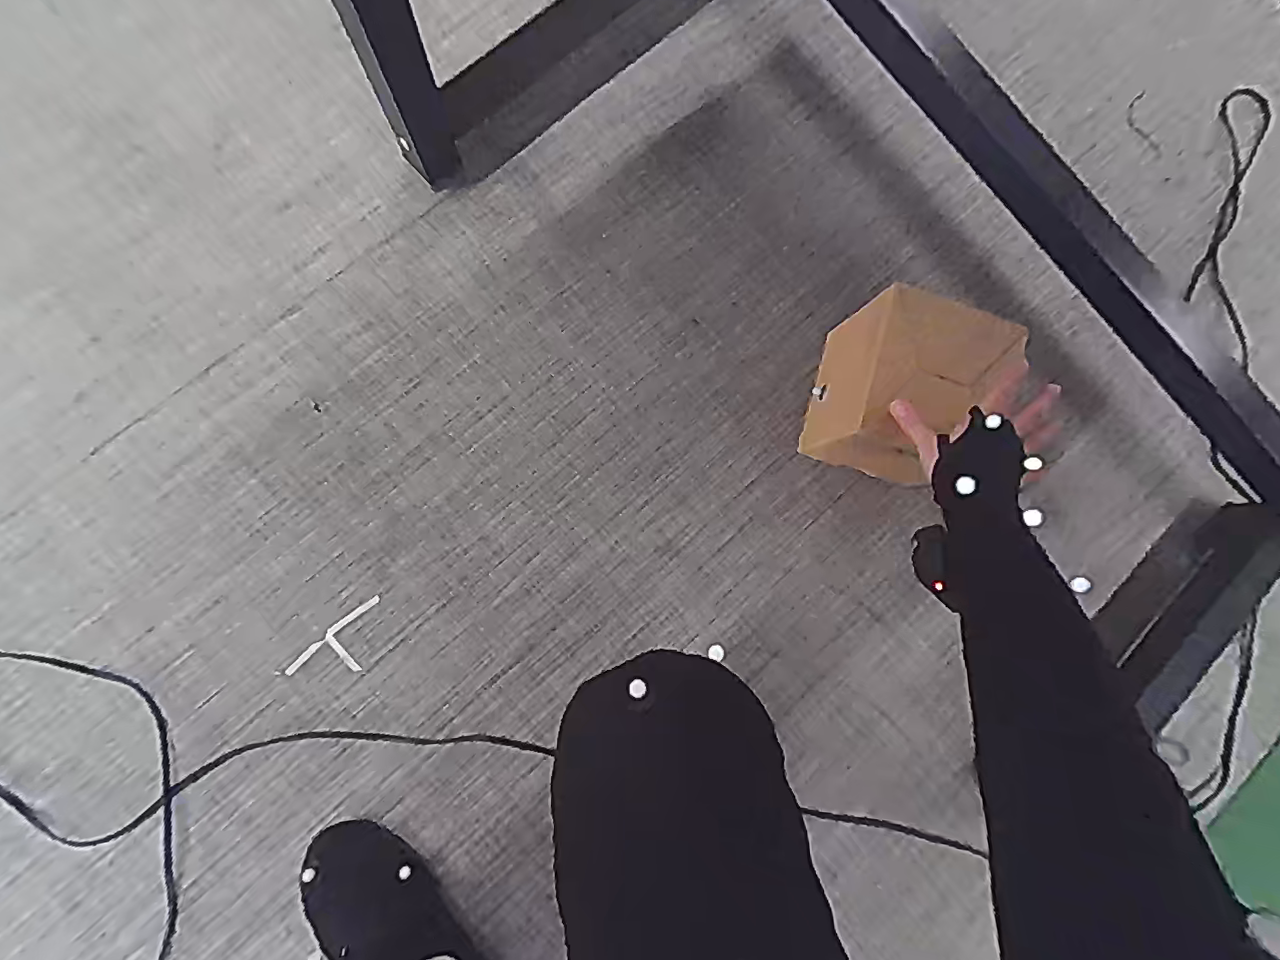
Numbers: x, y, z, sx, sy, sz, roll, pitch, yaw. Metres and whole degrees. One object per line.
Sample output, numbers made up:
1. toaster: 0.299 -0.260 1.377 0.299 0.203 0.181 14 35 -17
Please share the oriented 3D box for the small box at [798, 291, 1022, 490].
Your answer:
1. small box: 0.319 -0.097 0.660 0.168 0.176 0.179 17 84 -5
